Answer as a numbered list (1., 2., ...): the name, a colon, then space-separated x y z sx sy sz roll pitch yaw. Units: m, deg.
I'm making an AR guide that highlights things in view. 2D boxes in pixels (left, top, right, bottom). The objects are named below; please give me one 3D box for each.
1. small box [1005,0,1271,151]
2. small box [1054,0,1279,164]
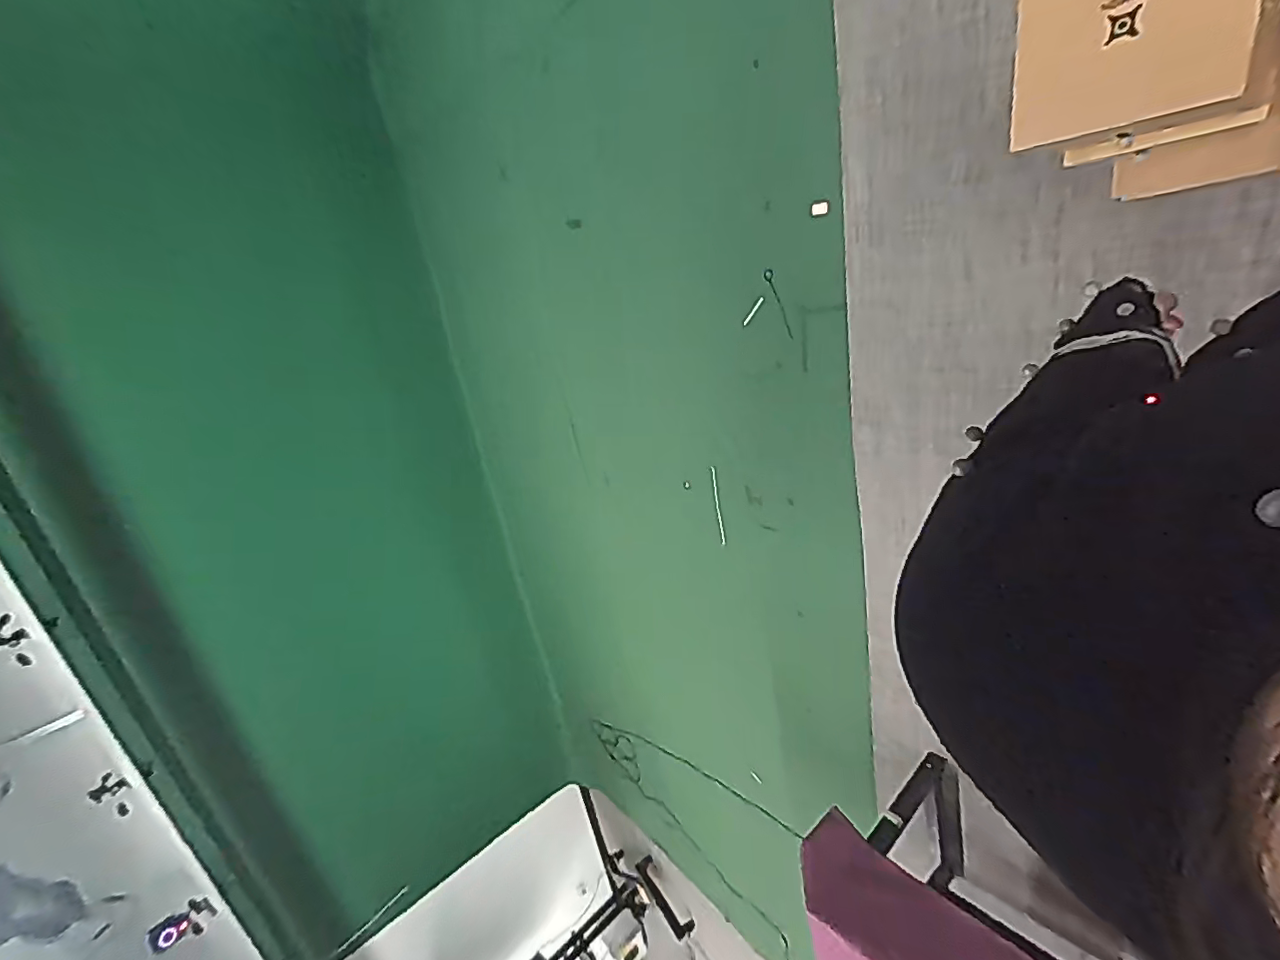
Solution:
1. small box: 0.479 -0.435 0.518 0.168 0.176 0.179 15 123 46
2. small box: 0.604 -0.481 0.615 0.168 0.176 0.179 14 122 48
